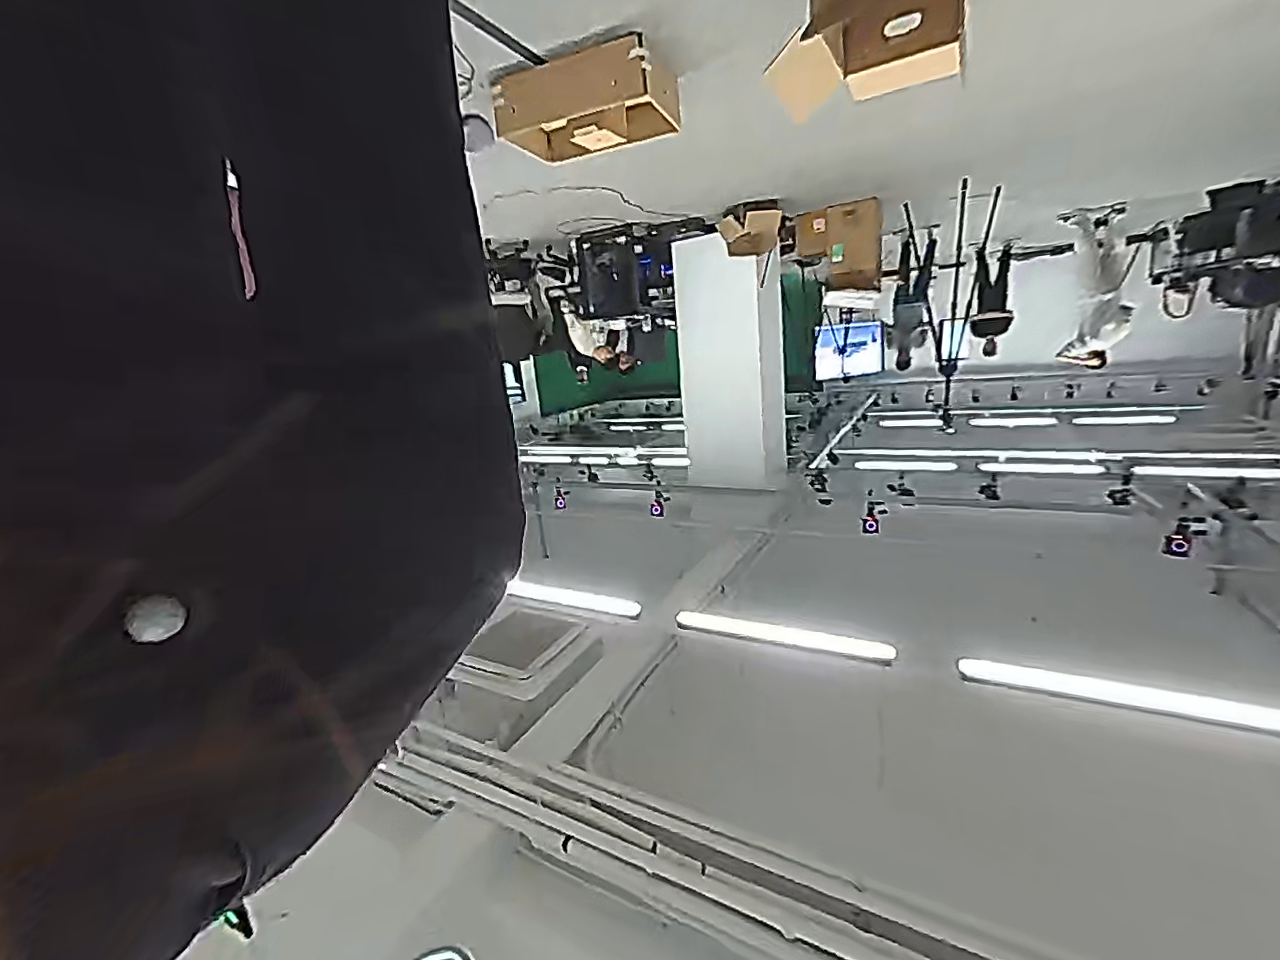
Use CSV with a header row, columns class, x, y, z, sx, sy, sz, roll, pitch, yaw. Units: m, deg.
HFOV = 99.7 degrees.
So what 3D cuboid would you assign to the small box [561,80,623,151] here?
class,x,y,z,sx,sy,sz,roll,pitch,yaw
small box,-0.182,-1.378,2.041,0.168,0.176,0.179,3,-163,27
